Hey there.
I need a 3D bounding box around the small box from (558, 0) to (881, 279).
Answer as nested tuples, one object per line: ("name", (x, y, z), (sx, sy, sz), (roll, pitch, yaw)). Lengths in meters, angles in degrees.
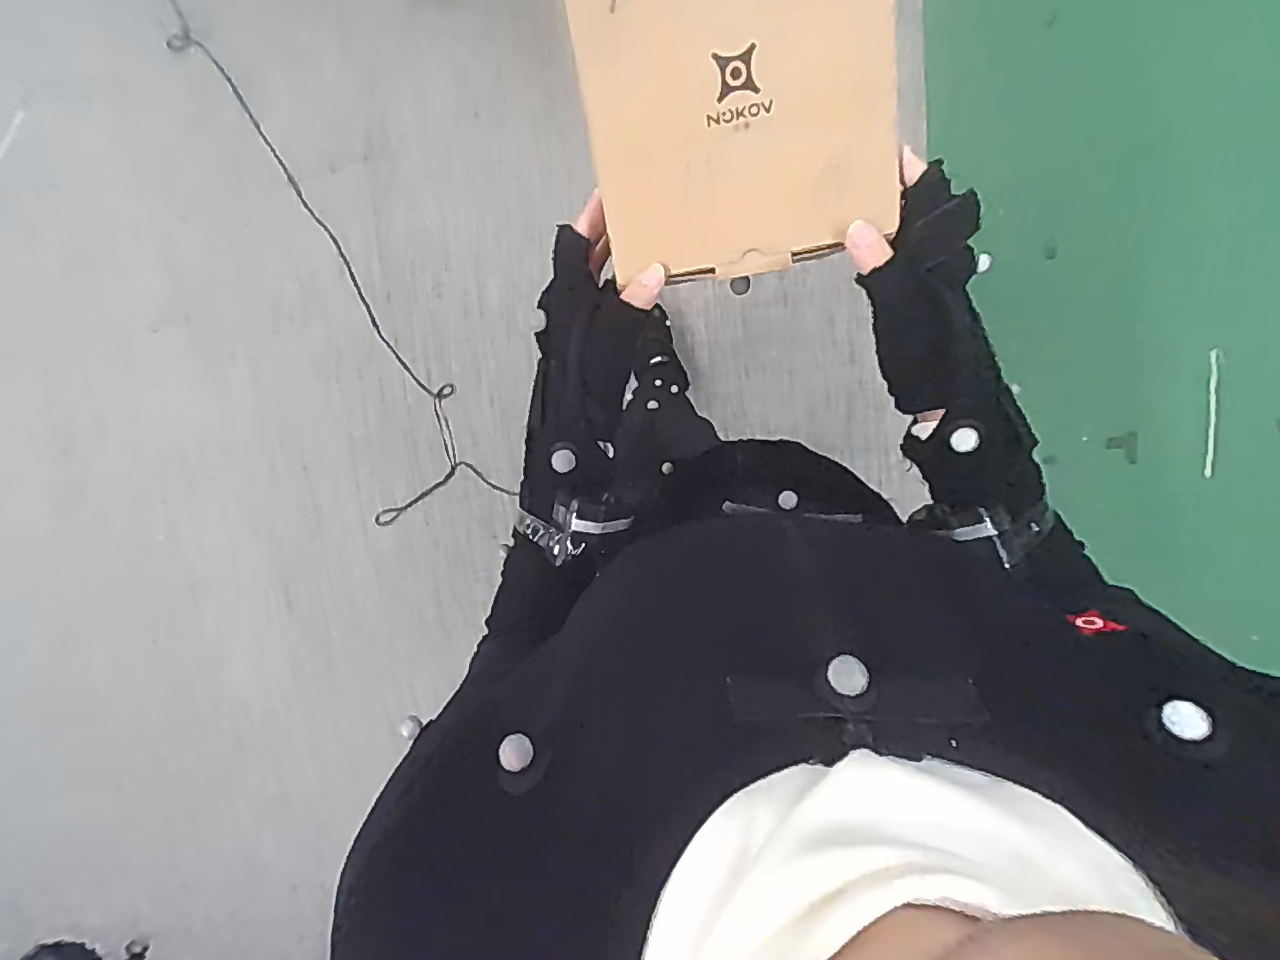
("small box", (0.053, -0.242, 0.367), (0.168, 0.176, 0.179), (-7, 110, 8))
